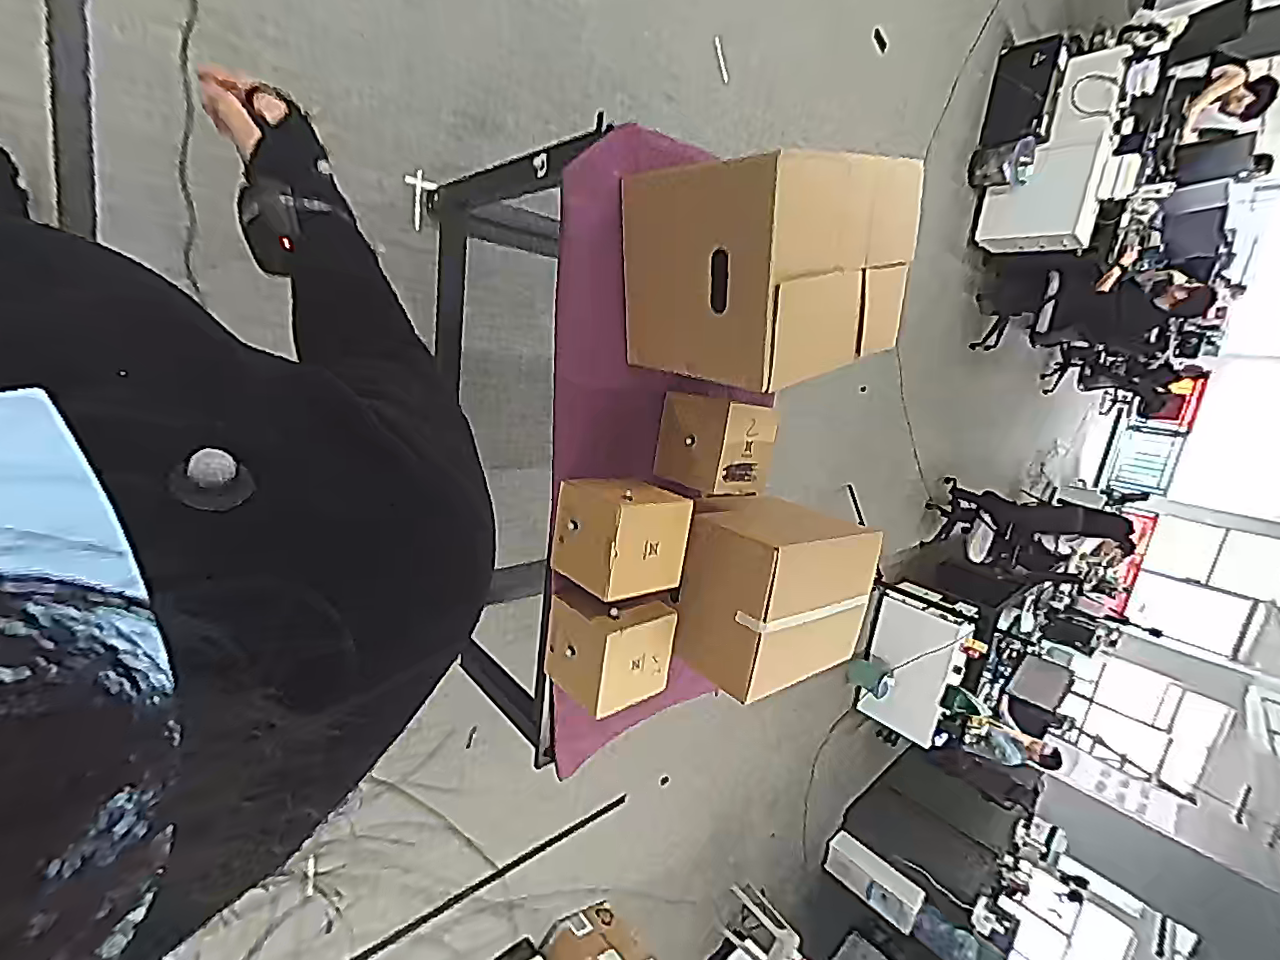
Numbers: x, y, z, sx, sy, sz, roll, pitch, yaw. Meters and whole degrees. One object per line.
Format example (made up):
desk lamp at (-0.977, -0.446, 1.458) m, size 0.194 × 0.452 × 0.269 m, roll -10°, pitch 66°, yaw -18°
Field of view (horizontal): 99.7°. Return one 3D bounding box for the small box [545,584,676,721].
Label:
small box at (-0.060, 0.313, 1.021) m, size 0.179 × 0.176 × 0.168 m, roll -3°, pitch 106°, yaw -44°
